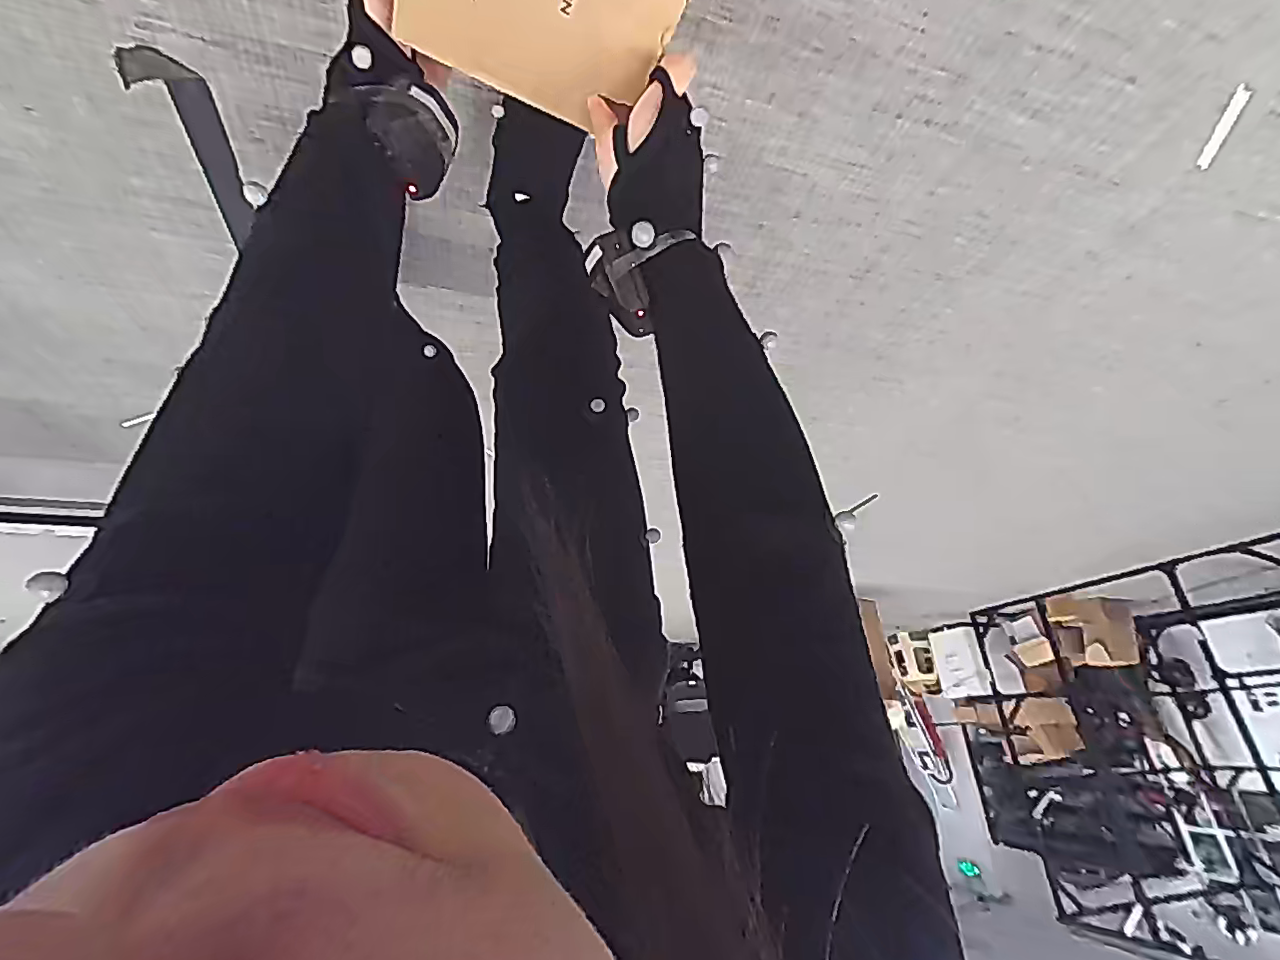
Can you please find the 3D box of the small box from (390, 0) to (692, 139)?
[{"bbox_3d":[-0.055,-0.390,0.366,0.179,0.176,0.168,12,151,-24],"label":"small box"}]
